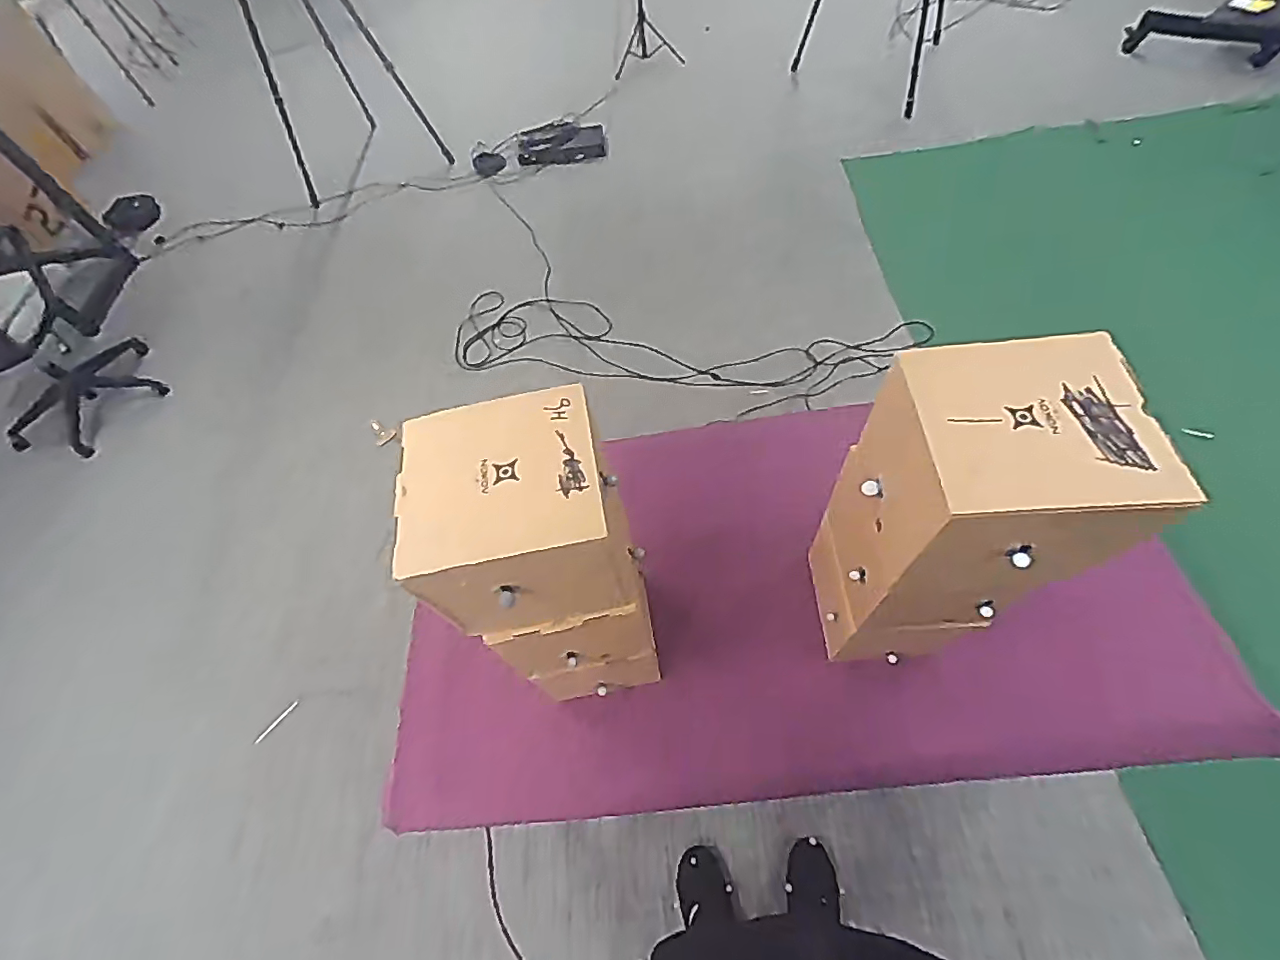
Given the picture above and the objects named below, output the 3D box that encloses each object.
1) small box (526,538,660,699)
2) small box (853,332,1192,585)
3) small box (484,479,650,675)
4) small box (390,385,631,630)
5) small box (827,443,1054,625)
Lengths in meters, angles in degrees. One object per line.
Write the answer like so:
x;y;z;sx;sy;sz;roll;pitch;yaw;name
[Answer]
-0.069;0.211;0.811;0.168;0.176;0.179;-12;58;2;small box
0.315;-0.010;0.497;0.179;0.176;0.168;-4;59;7;small box
-0.088;0.123;0.675;0.168;0.176;0.179;-13;58;0;small box
-0.117;0.037;0.539;0.179;0.176;0.168;-13;59;2;small box
0.333;0.066;0.641;0.168;0.176;0.179;-6;59;5;small box
